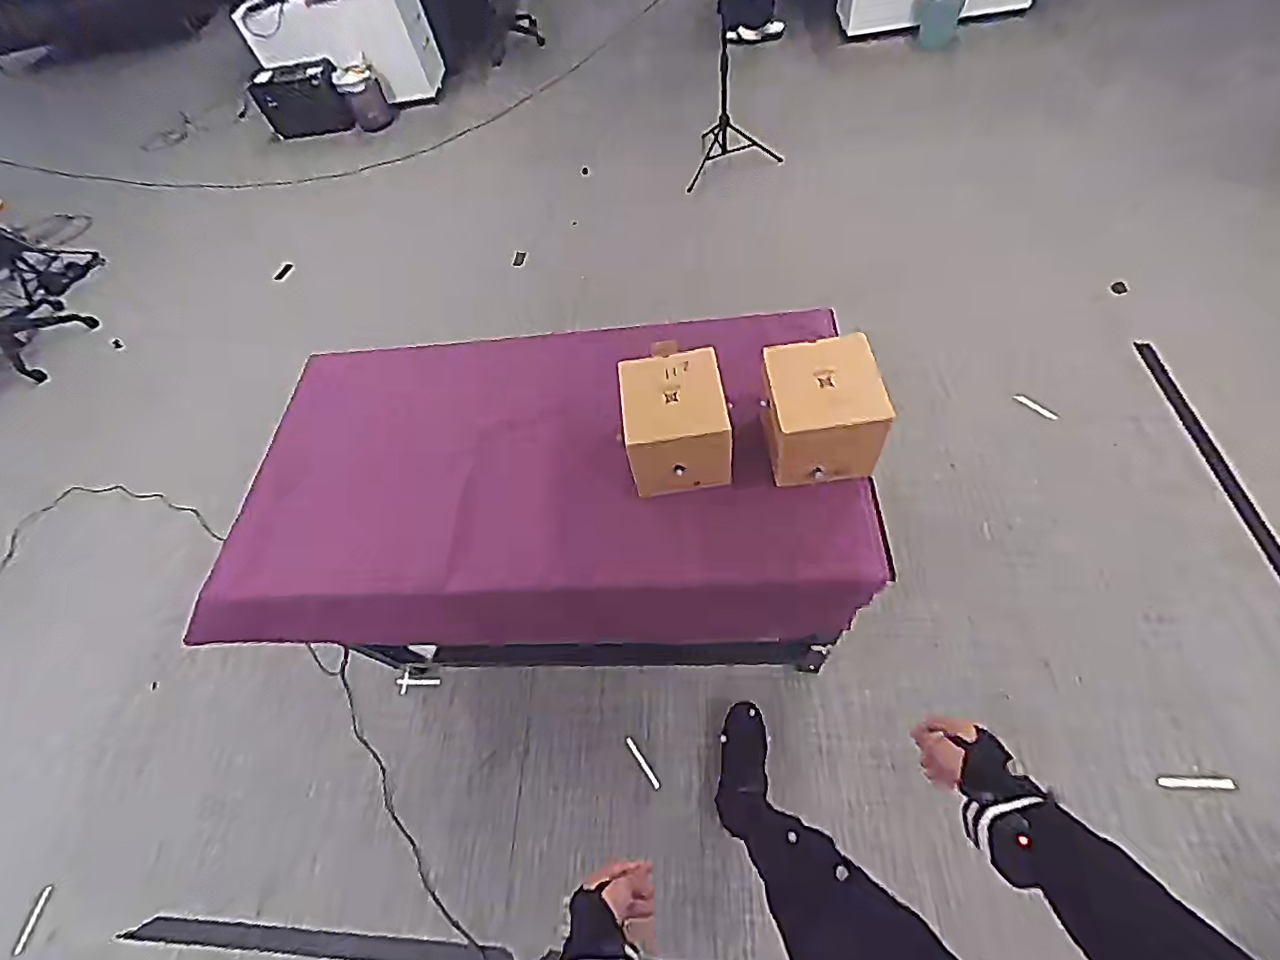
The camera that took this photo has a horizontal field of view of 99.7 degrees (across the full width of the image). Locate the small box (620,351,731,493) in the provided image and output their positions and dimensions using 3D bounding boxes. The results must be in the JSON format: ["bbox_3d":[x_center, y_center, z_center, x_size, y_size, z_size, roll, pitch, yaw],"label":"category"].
[{"bbox_3d":[0.064,-0.090,0.933,0.168,0.176,0.179,-8,57,4],"label":"small box"}]

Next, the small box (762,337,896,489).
[{"bbox_3d":[0.301,-0.107,0.904,0.168,0.176,0.179,-8,57,7],"label":"small box"}]
